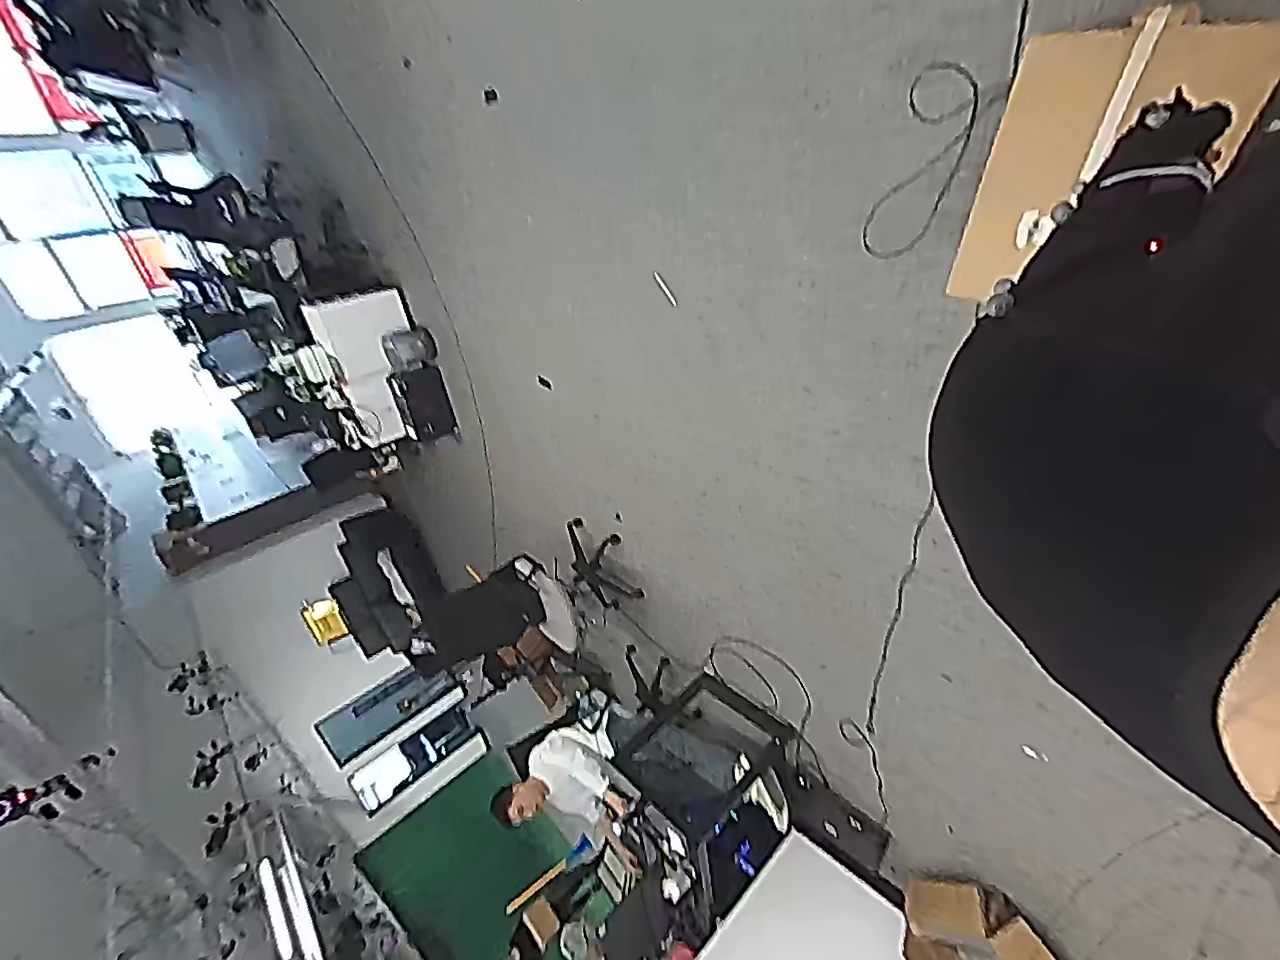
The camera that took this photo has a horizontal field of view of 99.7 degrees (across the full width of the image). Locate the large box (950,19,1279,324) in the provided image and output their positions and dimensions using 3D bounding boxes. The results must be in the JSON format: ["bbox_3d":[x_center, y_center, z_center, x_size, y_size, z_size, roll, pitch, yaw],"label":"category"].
[{"bbox_3d":[0.830,-0.550,0.971,0.320,0.320,0.408,31,138,35],"label":"large box"}]
